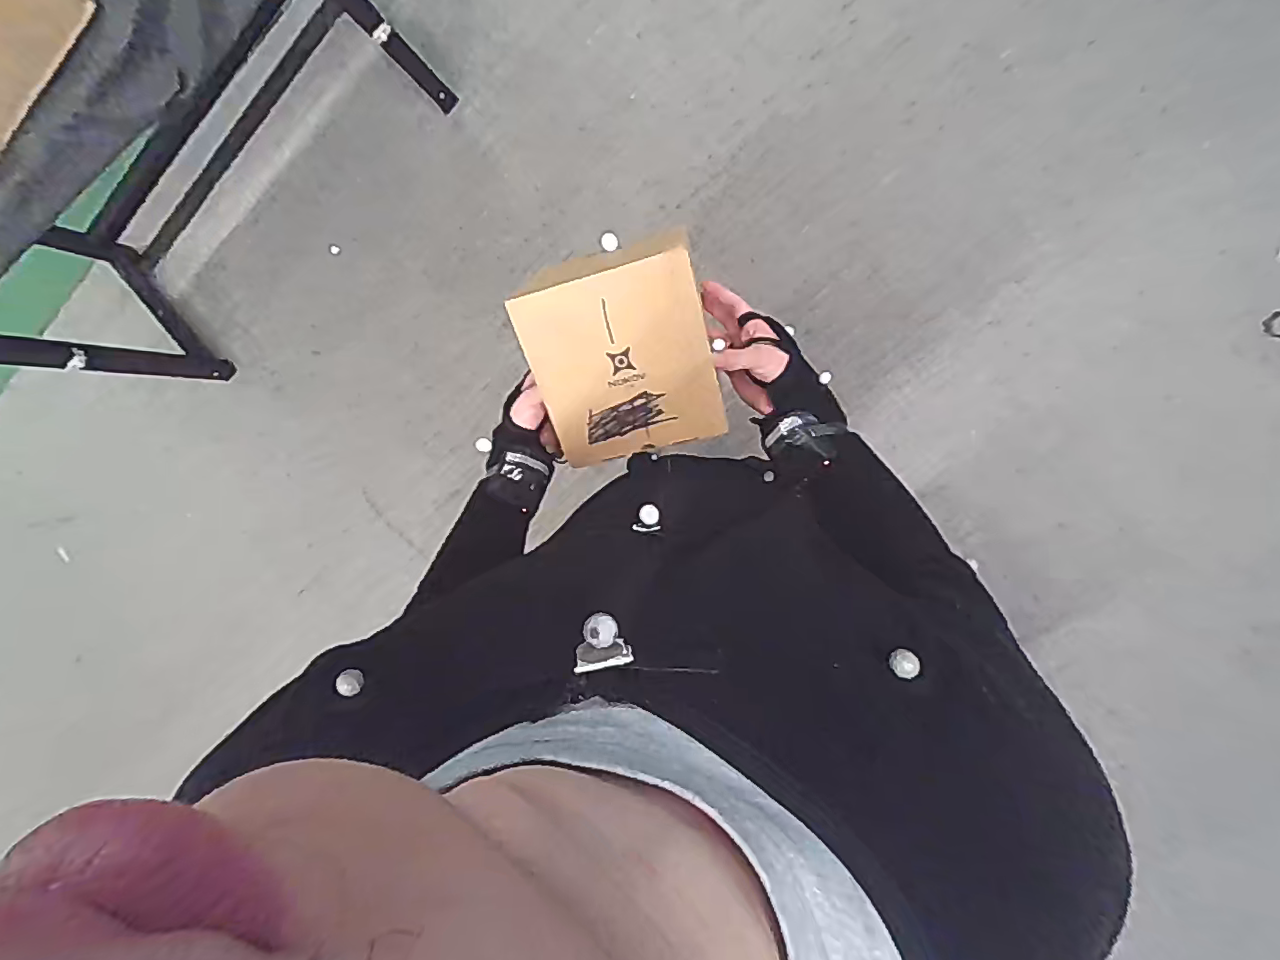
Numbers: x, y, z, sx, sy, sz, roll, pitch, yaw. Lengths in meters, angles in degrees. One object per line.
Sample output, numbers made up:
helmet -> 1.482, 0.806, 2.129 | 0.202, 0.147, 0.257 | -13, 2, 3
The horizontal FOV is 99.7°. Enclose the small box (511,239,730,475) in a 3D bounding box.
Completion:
small box -> -0.007, -0.133, 0.564 | 0.168, 0.176, 0.179 | -13, 117, 11
